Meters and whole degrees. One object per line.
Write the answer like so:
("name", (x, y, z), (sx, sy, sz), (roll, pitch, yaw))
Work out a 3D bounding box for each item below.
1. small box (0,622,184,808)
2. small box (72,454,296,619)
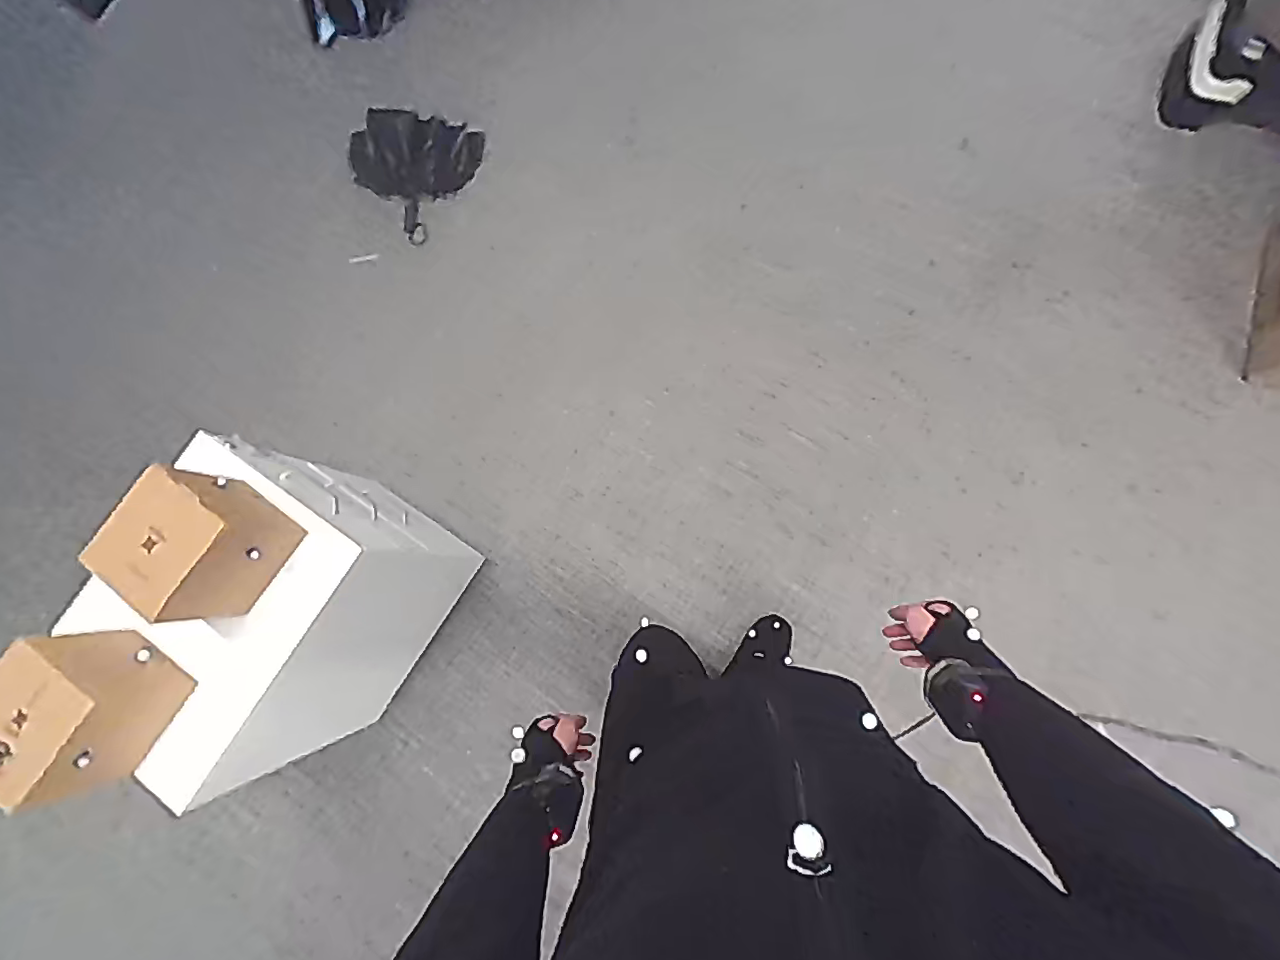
("small box", (-0.849, 0.333, 0.804), (0.168, 0.176, 0.179), (33, 83, 9))
("small box", (-0.679, 0.087, 0.833), (0.168, 0.176, 0.179), (34, 87, 11))
